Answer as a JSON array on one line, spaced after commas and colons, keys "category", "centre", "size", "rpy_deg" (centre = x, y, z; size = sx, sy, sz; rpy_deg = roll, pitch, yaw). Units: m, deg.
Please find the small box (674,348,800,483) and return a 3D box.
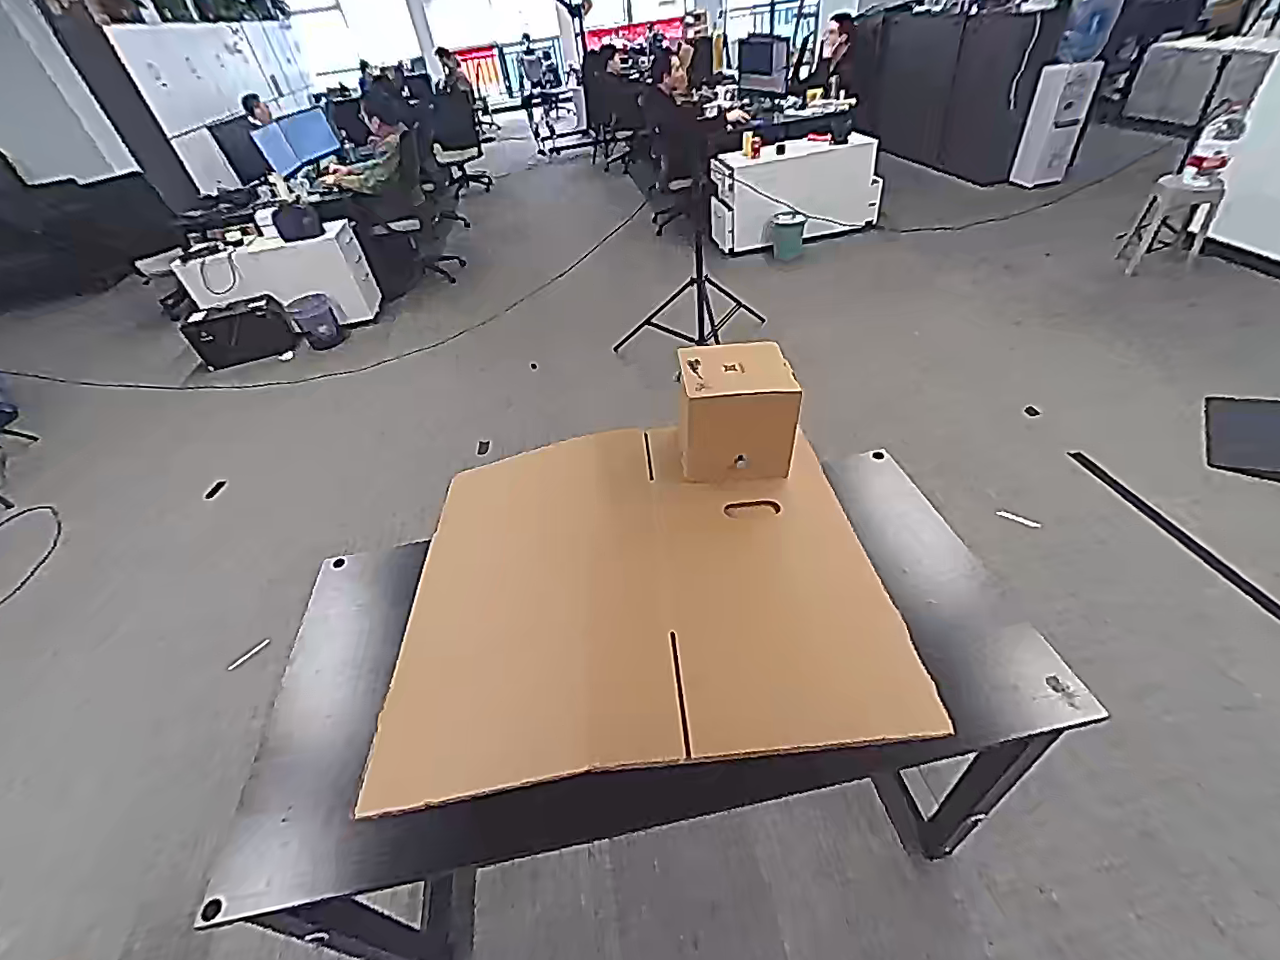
[{"category": "small box", "centre": [0.154, -0.110, 0.926], "size": [0.179, 0.176, 0.168], "rpy_deg": [-3, 39, -1]}]
